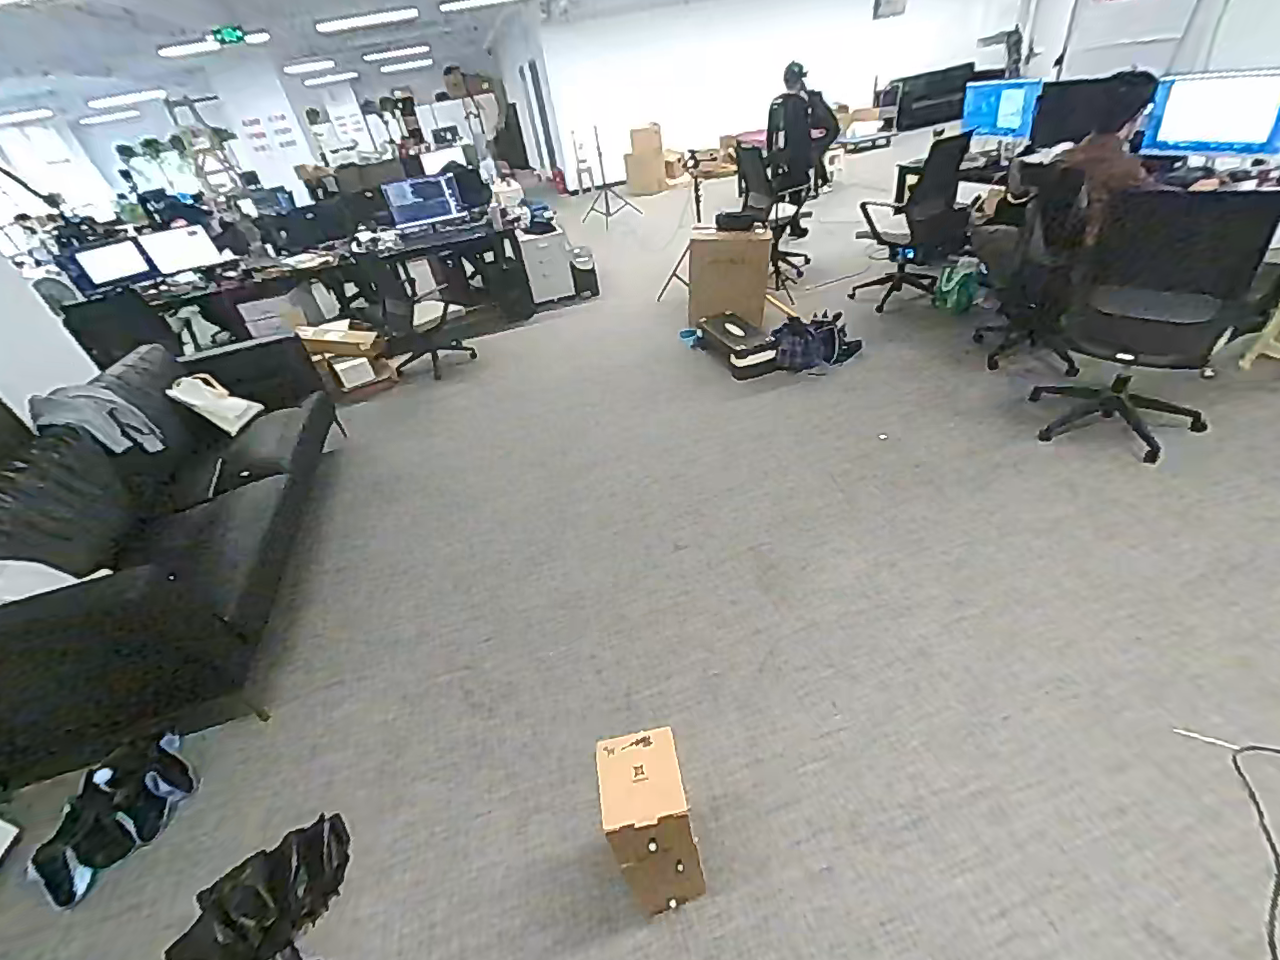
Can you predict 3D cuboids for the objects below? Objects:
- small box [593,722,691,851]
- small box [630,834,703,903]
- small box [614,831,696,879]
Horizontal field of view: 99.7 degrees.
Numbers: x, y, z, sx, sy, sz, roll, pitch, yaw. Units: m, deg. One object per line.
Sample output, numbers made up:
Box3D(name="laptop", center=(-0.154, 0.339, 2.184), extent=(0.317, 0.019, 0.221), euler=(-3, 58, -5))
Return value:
Box3D(name="small box", center=(0.005, 0.638, 1.118), extent=(0.168, 0.176, 0.179), euler=(-12, 39, -2))
Box3D(name="small box", center=(0.045, 0.886, 1.324), extent=(0.168, 0.176, 0.179), euler=(-17, 39, -8))
Box3D(name="small box", center=(0.021, 0.764, 1.221), extent=(0.168, 0.176, 0.179), euler=(-16, 37, -8))
